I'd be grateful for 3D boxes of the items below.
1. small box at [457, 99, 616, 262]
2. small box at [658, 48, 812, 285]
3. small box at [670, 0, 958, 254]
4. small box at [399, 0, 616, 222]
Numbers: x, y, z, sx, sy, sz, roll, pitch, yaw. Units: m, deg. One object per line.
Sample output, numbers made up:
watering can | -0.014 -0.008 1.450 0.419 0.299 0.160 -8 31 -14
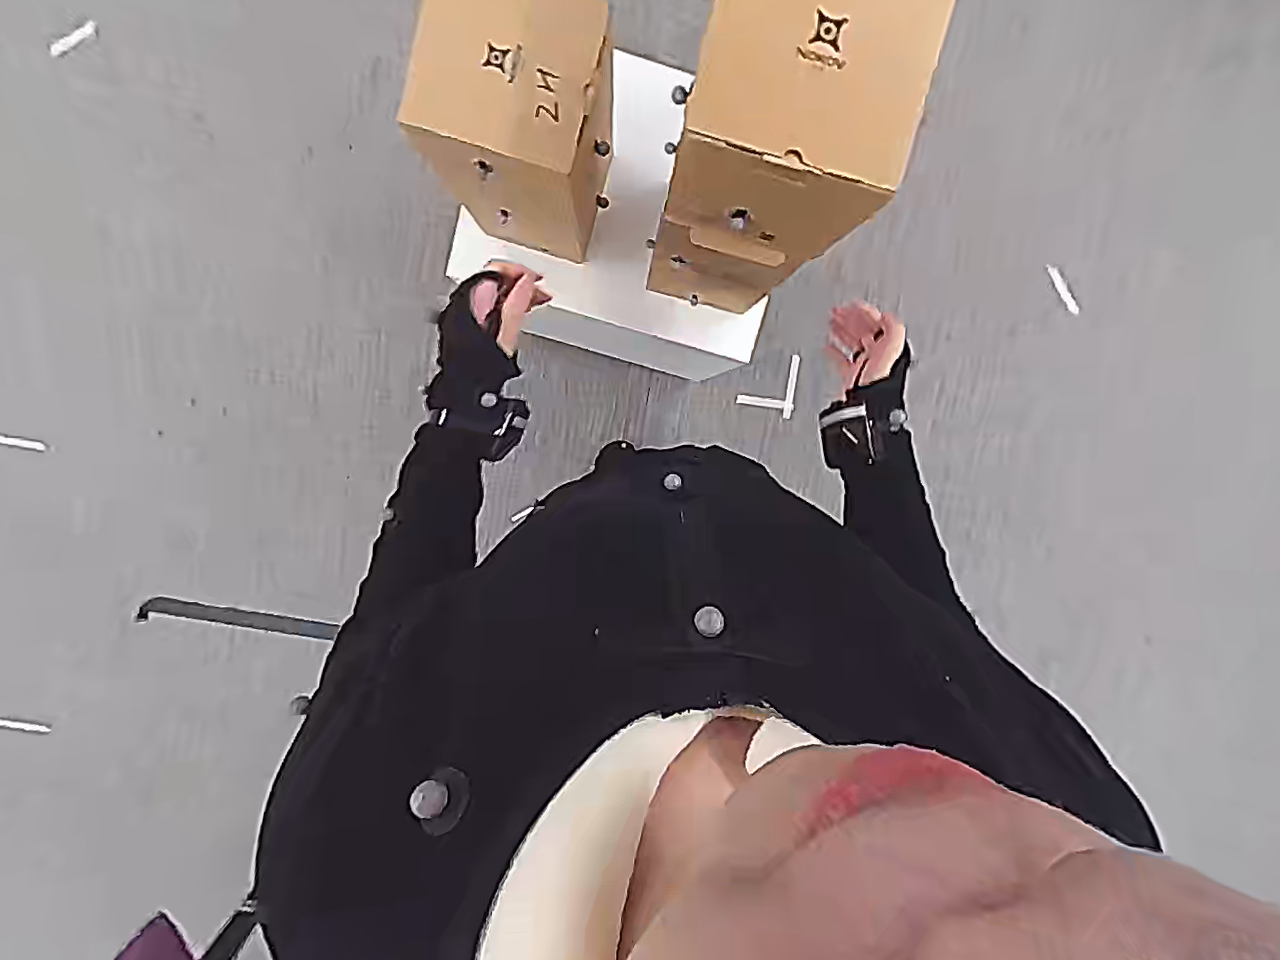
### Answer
small box | -0.138 -0.437 0.761 0.168 0.176 0.179 16 95 -4
small box | 0.120 -0.342 0.619 0.168 0.176 0.179 14 96 -4
small box | 0.128 -0.319 0.459 0.168 0.176 0.179 14 97 -4
small box | -0.132 -0.412 0.598 0.179 0.176 0.168 16 97 -5
